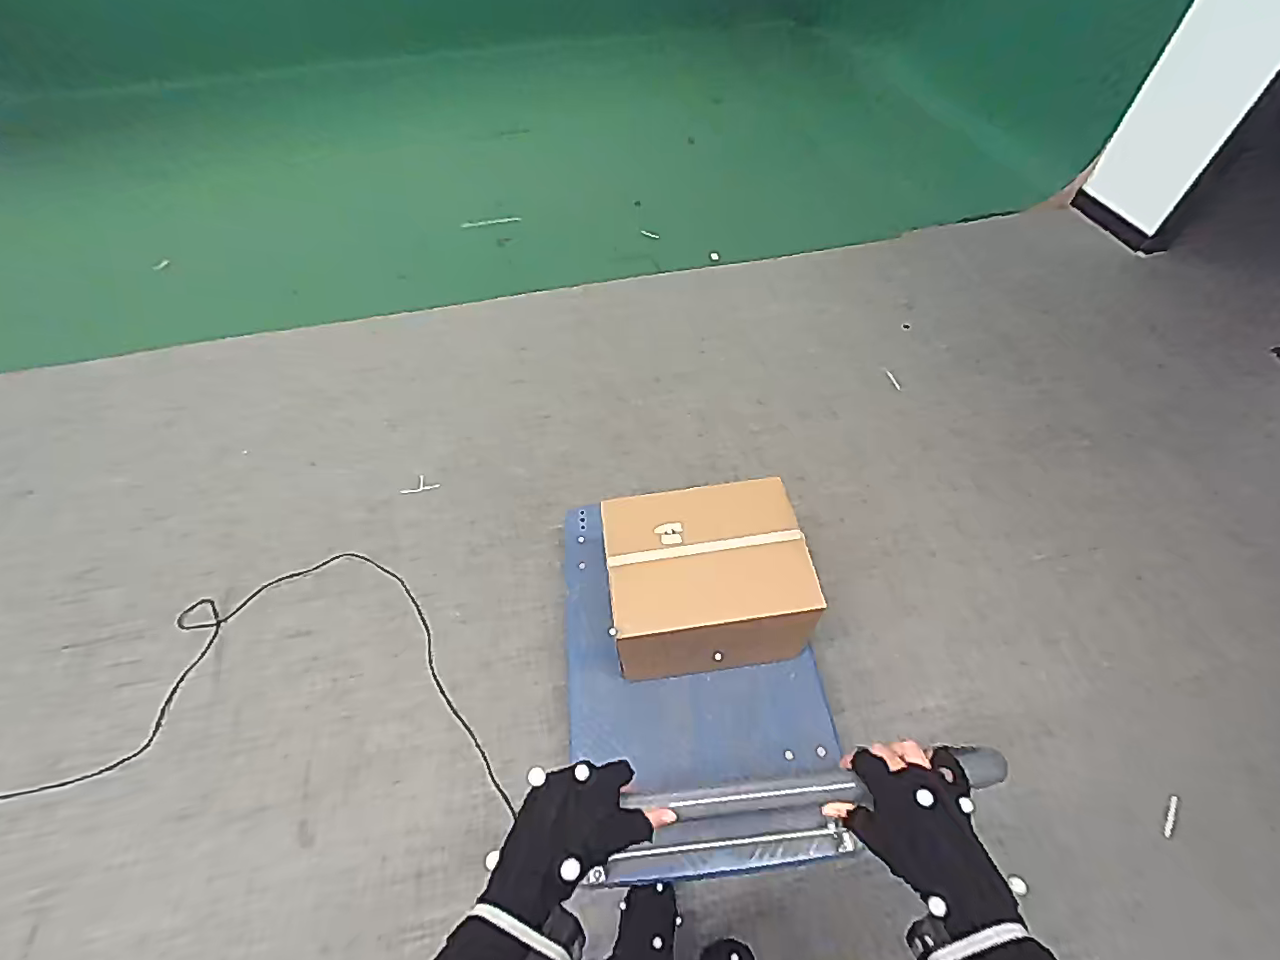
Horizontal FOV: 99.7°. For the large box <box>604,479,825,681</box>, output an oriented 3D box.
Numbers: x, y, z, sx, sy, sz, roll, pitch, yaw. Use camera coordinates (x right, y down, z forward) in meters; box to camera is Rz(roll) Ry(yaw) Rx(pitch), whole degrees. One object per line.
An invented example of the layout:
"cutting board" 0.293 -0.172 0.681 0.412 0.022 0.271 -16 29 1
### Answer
"large box" 0.146 0.235 1.228 0.408 0.320 0.320 -8 54 -2
